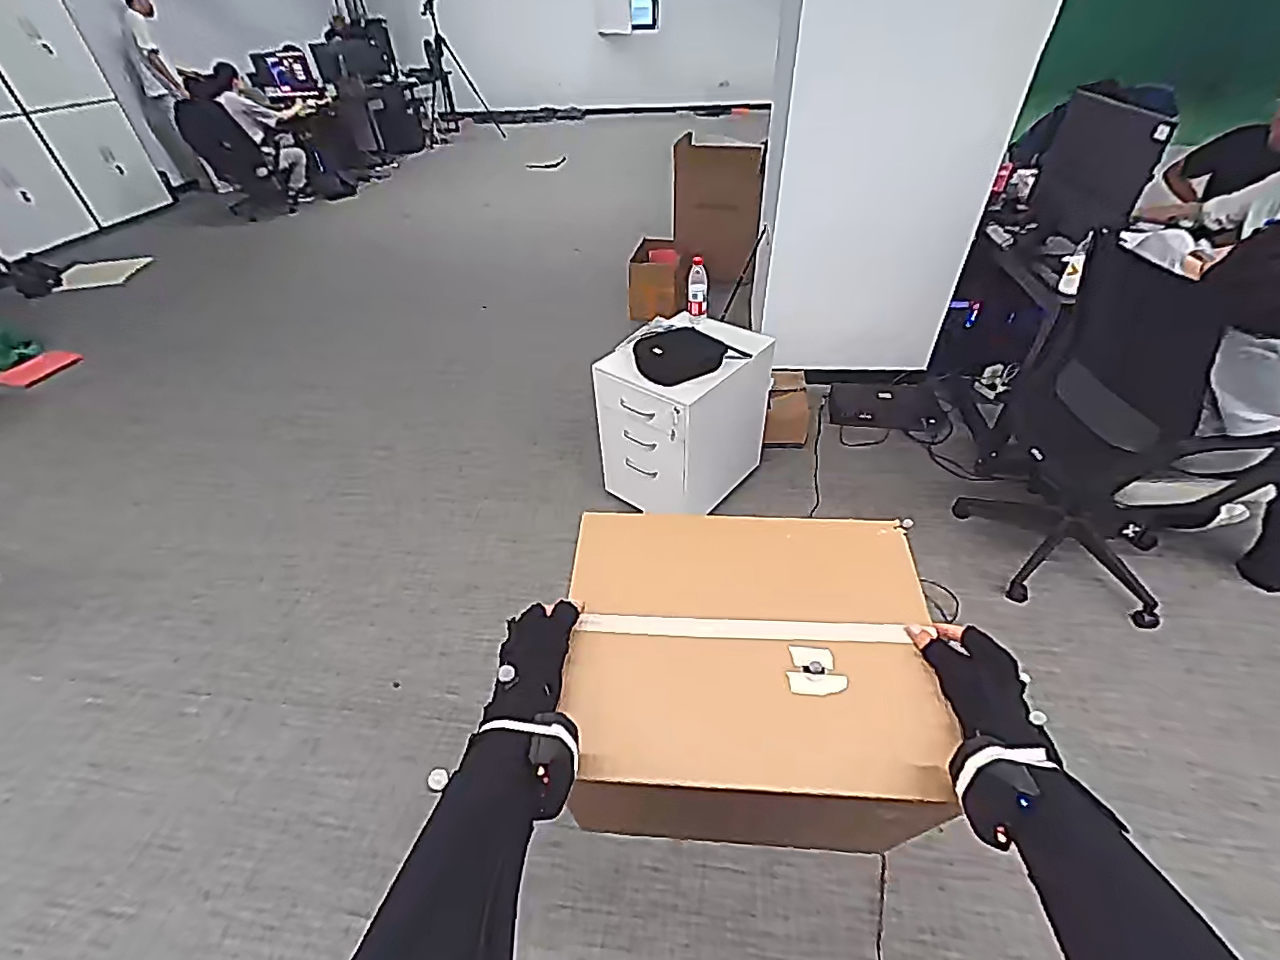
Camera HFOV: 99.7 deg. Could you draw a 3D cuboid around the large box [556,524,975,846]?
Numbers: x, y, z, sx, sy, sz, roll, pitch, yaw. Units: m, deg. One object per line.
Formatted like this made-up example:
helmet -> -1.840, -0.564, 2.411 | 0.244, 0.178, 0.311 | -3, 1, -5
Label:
large box -> 0.125, 0.273, 0.718 | 0.408, 0.320, 0.320 | 1, 49, 4
